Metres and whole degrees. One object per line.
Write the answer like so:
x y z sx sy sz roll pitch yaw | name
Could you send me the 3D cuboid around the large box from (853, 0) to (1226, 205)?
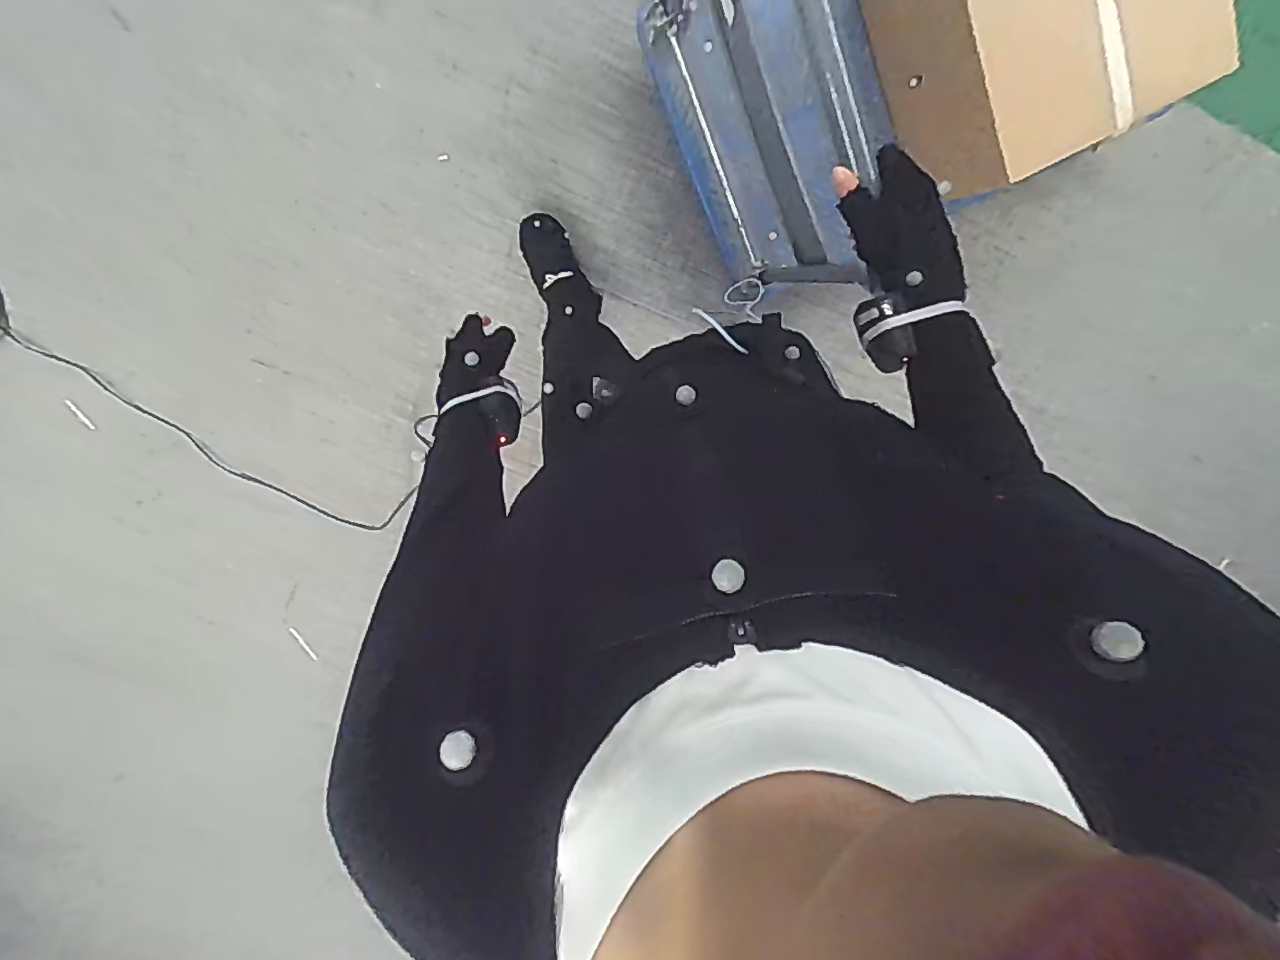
0.587 -0.719 0.853 0.320 0.320 0.408 -25 107 11 | large box
